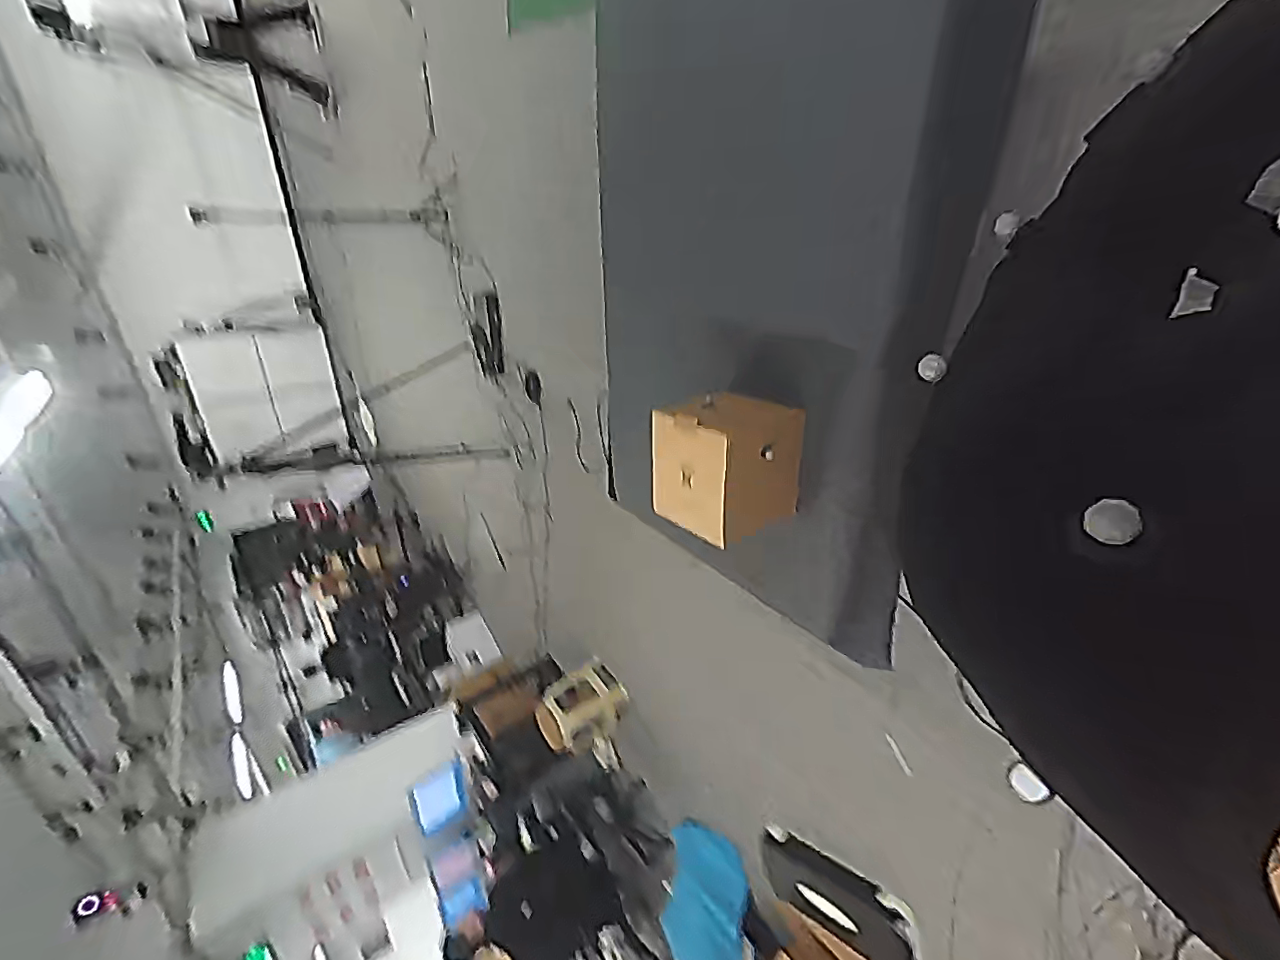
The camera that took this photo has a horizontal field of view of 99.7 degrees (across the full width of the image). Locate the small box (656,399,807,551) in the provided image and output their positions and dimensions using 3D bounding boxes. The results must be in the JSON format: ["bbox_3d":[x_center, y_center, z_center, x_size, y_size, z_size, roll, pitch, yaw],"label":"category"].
[{"bbox_3d":[0.142,-0.020,0.846,0.168,0.176,0.179,26,126,49],"label":"small box"}]
